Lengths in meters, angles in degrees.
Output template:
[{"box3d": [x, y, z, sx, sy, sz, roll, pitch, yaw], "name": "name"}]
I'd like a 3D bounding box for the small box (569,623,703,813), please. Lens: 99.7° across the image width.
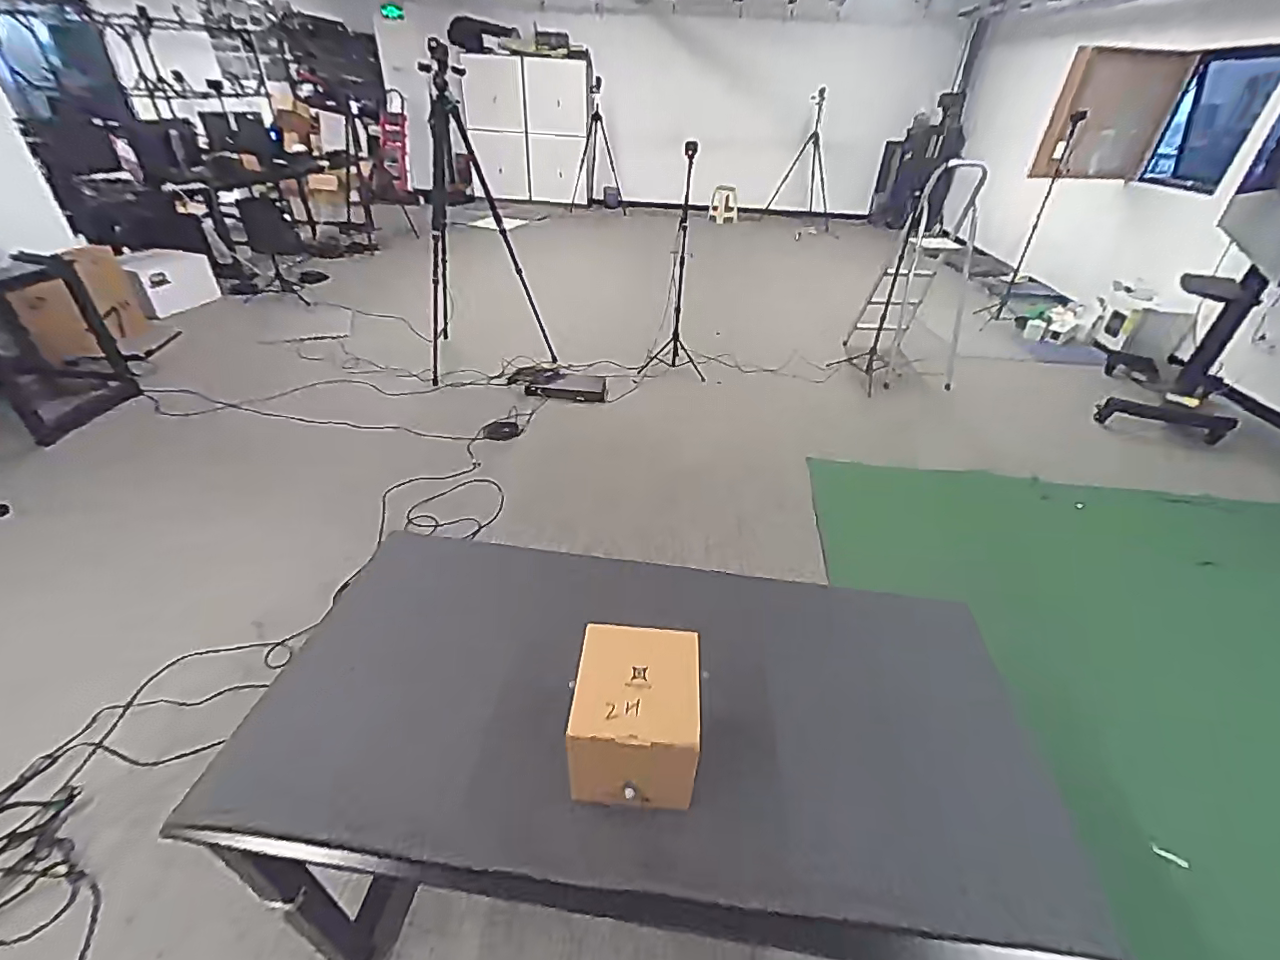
[{"box3d": [-0.004, 0.330, 0.762, 0.168, 0.176, 0.179, 4, 34, 2], "name": "small box"}]
